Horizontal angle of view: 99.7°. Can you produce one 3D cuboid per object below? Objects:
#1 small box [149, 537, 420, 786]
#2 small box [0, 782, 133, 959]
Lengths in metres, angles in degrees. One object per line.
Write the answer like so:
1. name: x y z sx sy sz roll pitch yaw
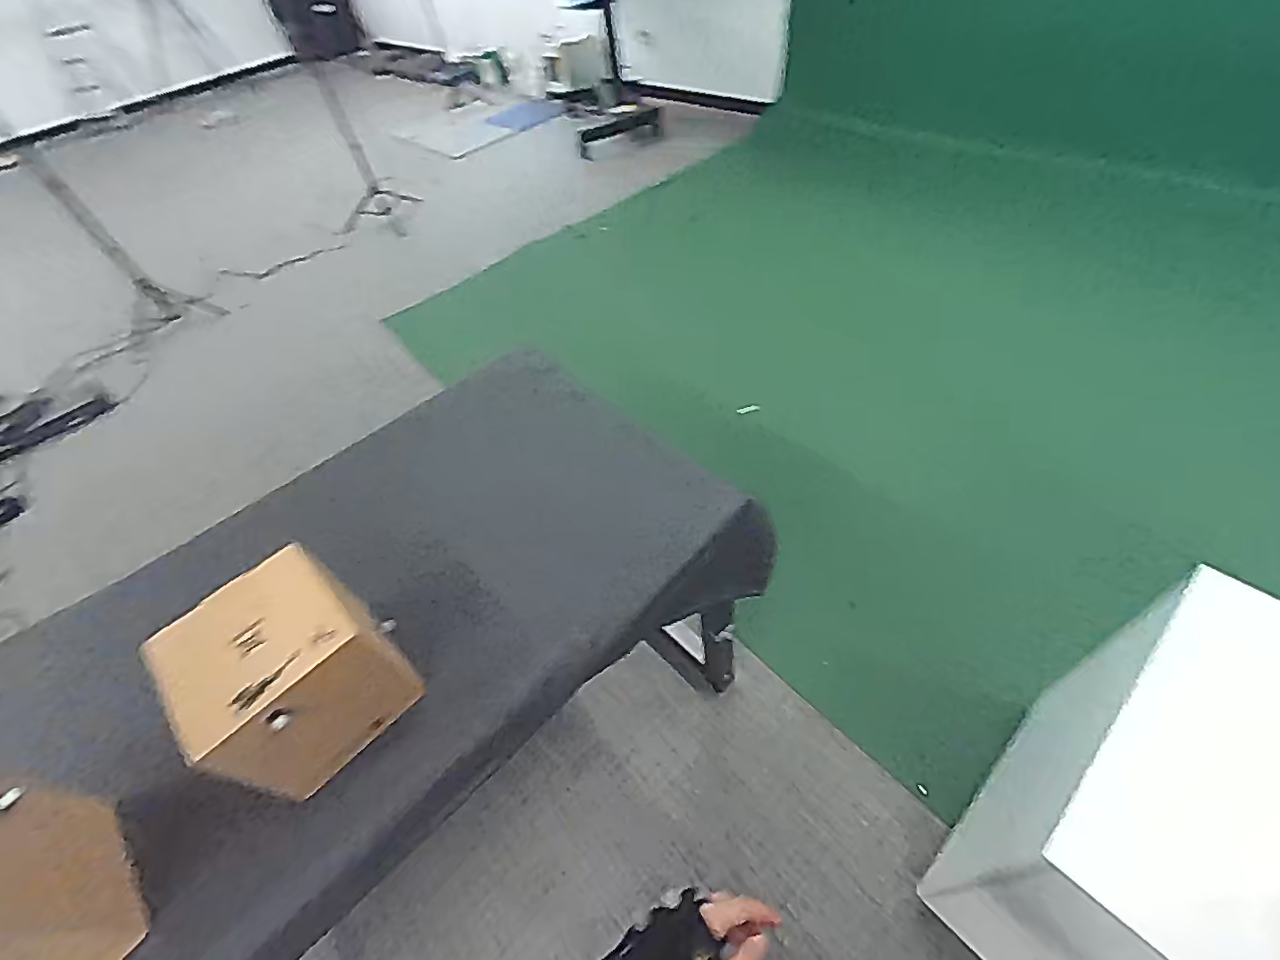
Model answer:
1. small box: -0.387 0.205 0.609 0.179 0.176 0.168 34 62 32
2. small box: -0.613 0.396 0.480 0.179 0.176 0.168 32 61 31
